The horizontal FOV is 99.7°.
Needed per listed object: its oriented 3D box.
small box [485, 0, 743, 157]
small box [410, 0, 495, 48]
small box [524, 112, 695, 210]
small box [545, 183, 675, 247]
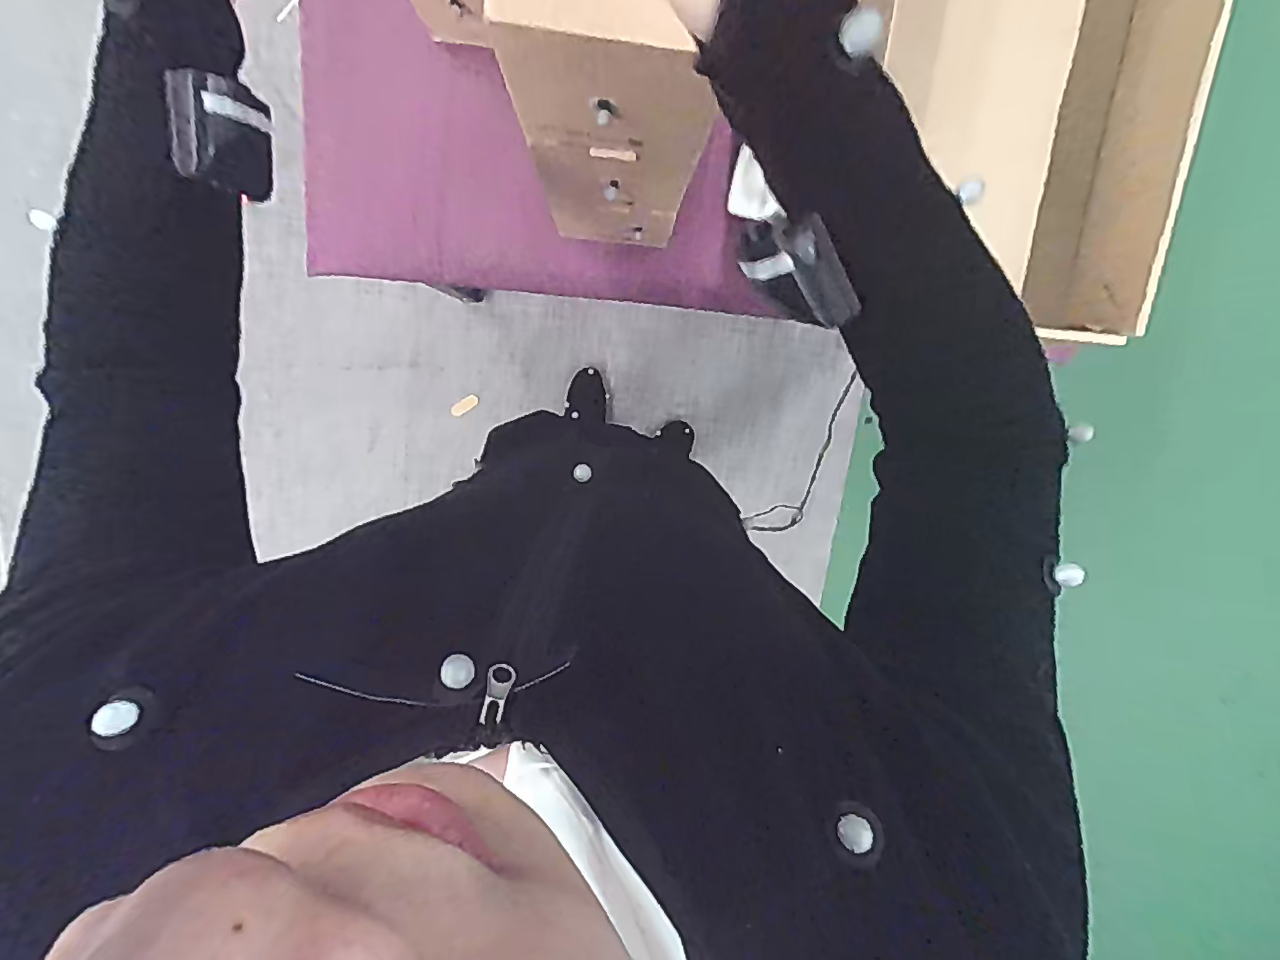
[{"bbox_3d":[-0.011,-0.378,0.411,0.168,0.176,0.179,6,99,-5],"label":"small box"},{"bbox_3d":[-0.207,-0.684,0.683,0.168,0.176,0.179,4,100,-3],"label":"small box"},{"bbox_3d":[-0.023,-0.407,0.574,0.168,0.176,0.179,5,100,-4],"label":"small box"},{"bbox_3d":[-0.031,-0.432,0.736,0.168,0.176,0.179,5,99,-4],"label":"small box"}]
